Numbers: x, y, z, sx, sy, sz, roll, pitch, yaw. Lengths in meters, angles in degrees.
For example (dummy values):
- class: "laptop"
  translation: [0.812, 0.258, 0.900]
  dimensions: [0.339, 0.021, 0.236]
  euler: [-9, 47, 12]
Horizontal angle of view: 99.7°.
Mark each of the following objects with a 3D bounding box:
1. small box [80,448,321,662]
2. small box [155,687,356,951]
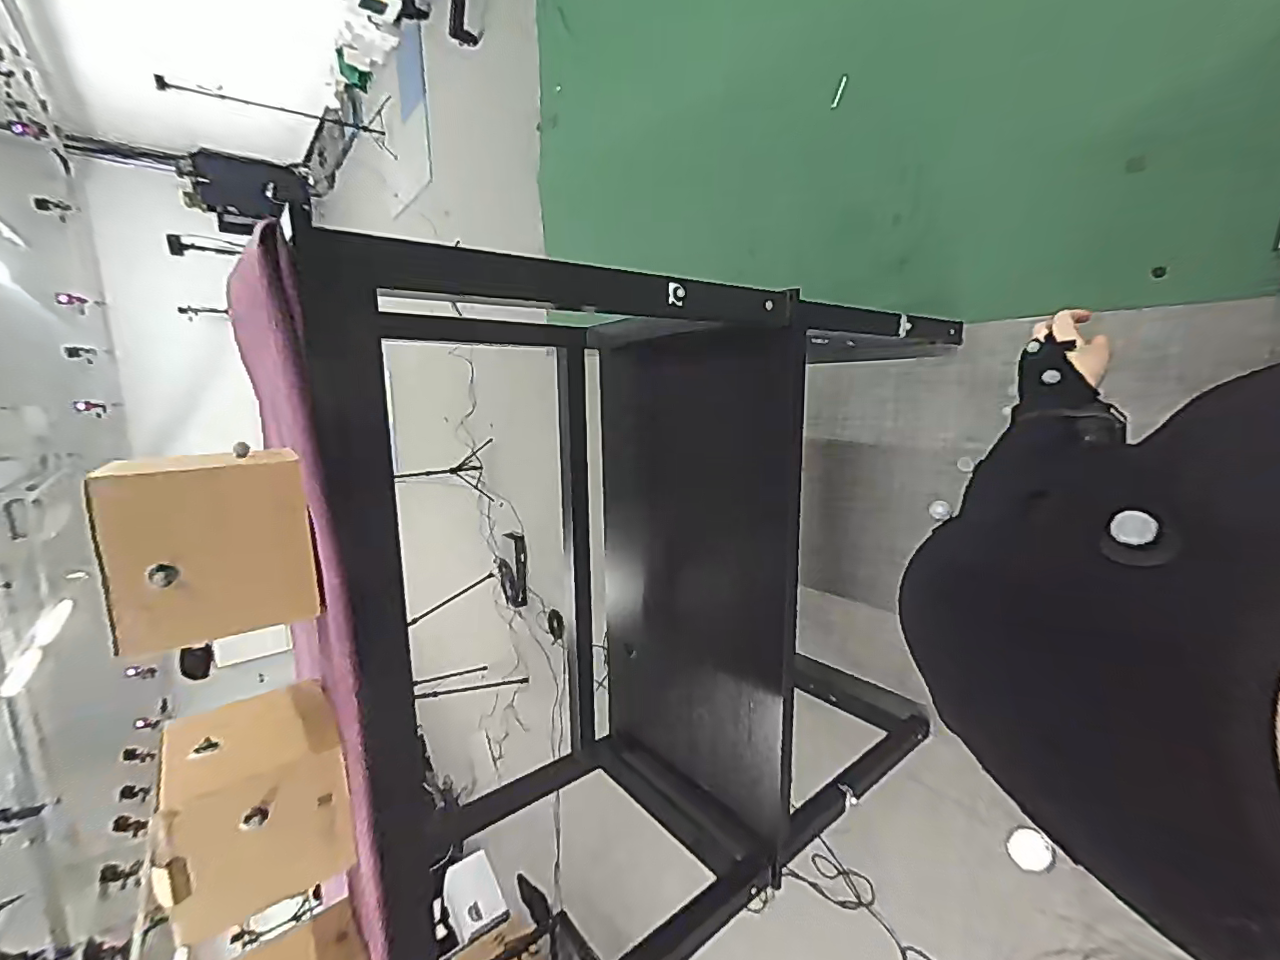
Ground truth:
- class: "small box"
  translation: [-0.460, 0.065, 0.592]
  dimensions: [0.168, 0.176, 0.179]
  euler: [11, 106, 53]
- class: "small box"
  translation: [-0.444, 0.373, 0.640]
  dimensions: [0.179, 0.176, 0.168]
  euler: [14, 107, 51]
